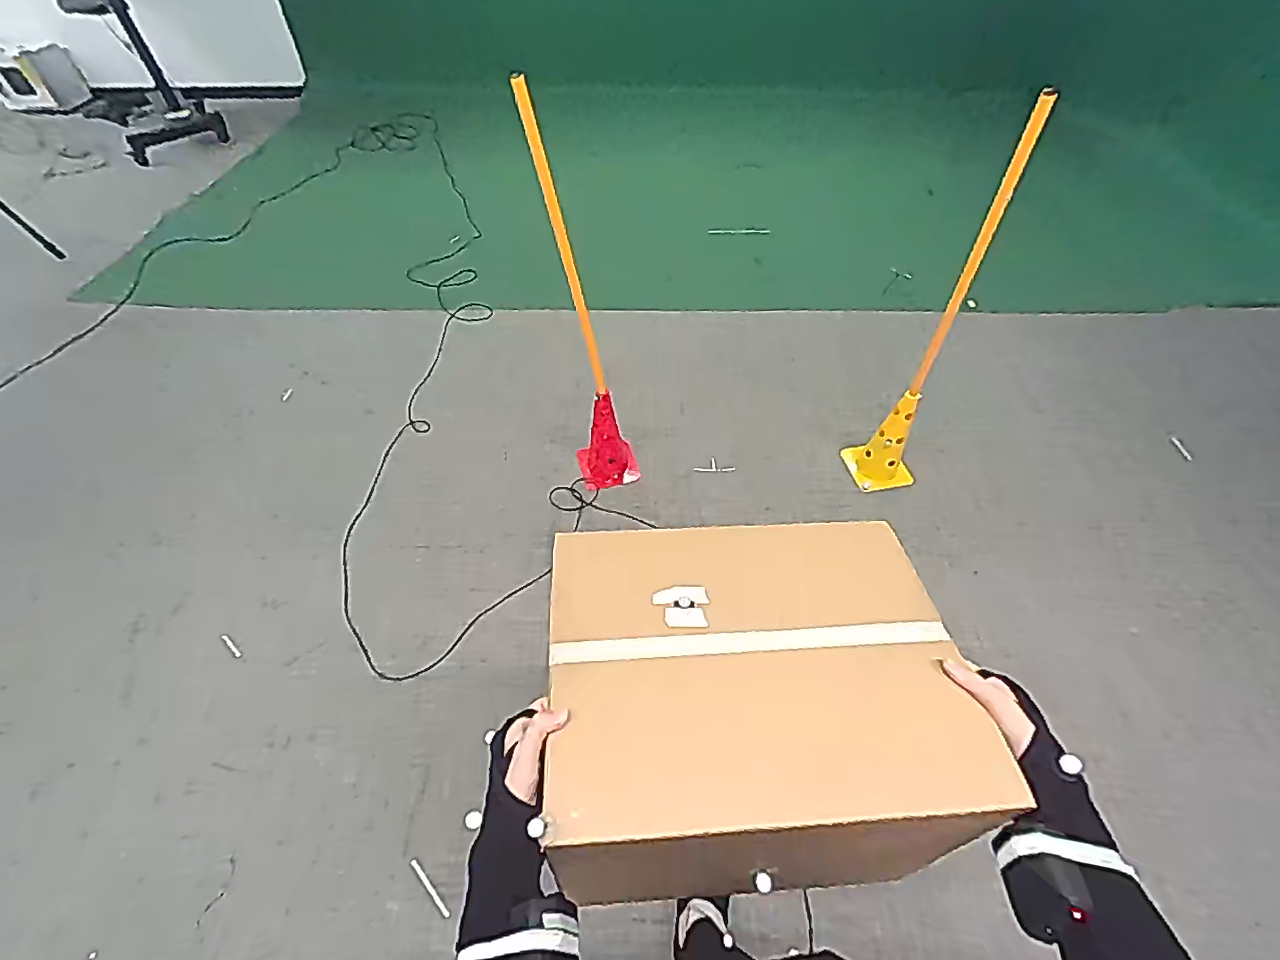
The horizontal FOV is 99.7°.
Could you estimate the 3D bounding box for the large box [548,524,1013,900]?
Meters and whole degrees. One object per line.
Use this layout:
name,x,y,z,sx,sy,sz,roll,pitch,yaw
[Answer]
large box,0.111,0.278,0.654,0.408,0.320,0.320,-3,44,-4
